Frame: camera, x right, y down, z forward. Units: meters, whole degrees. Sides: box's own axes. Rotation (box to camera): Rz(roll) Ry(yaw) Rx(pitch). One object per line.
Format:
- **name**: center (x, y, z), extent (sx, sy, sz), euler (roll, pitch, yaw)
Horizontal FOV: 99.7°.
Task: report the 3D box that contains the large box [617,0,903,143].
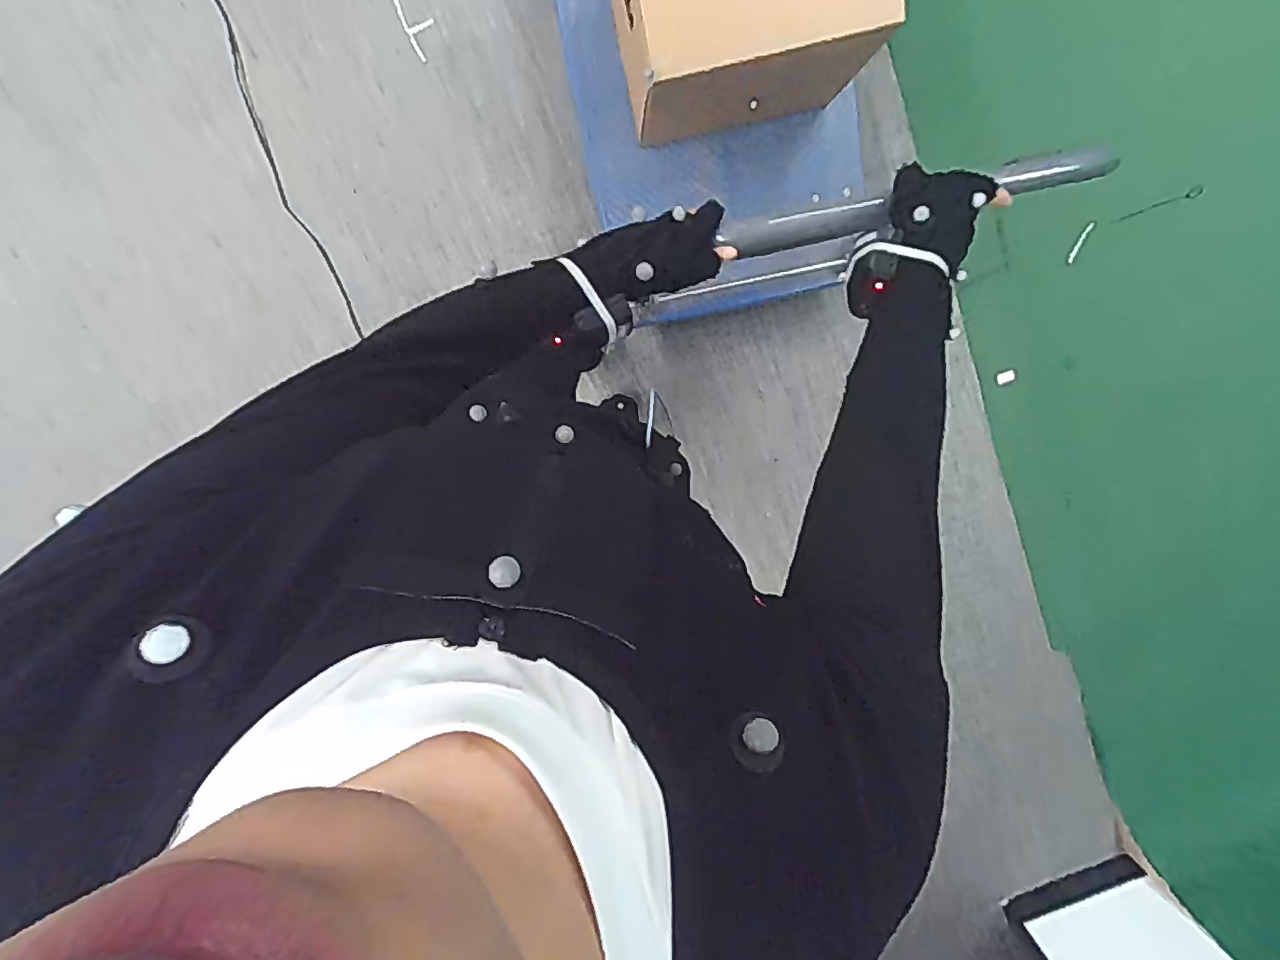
- **large box**: center (0.179, -0.851, 0.948), extent (0.408, 0.320, 0.320), euler (-13, 105, 1)
